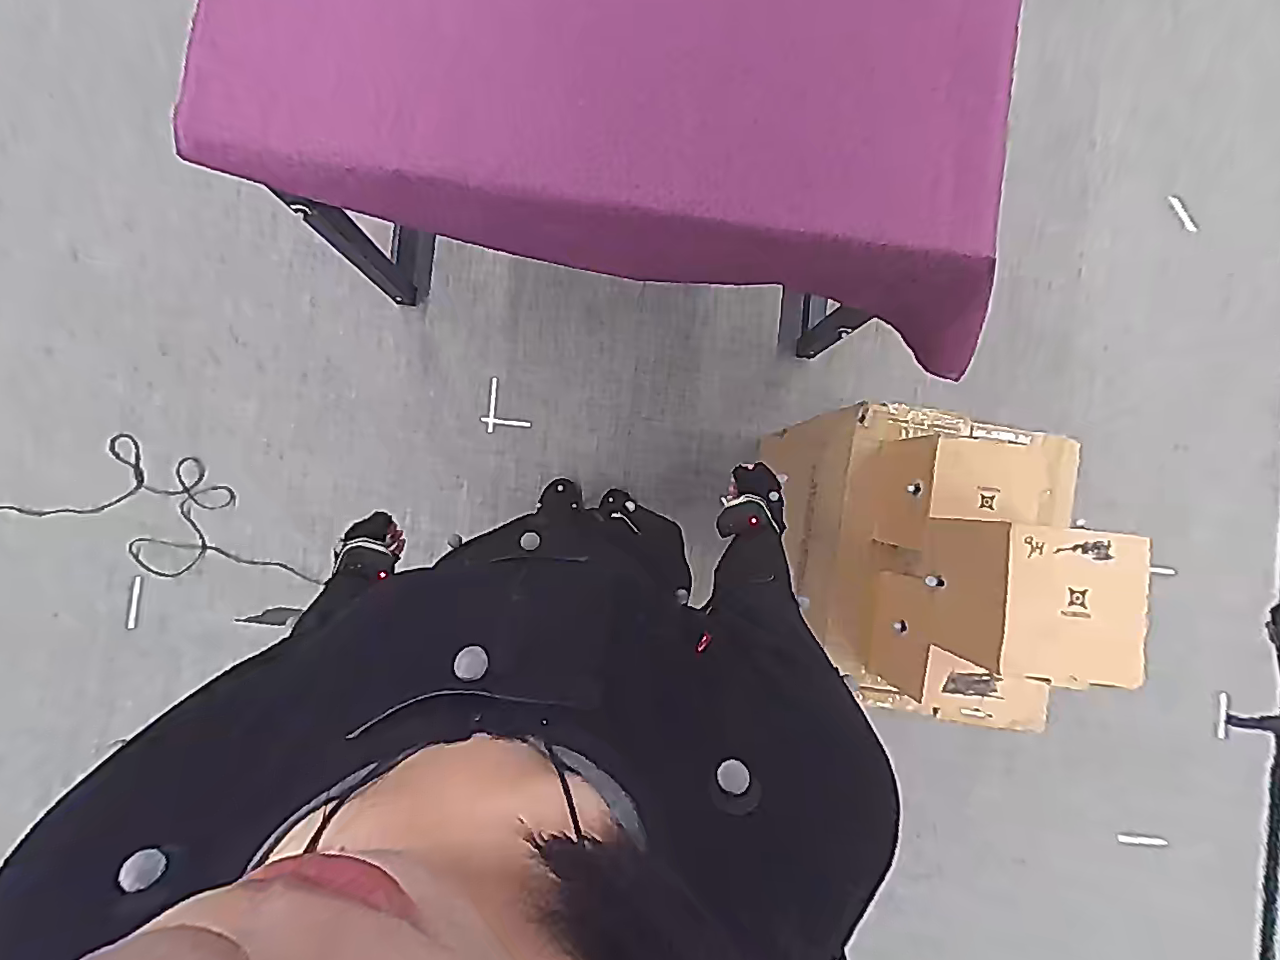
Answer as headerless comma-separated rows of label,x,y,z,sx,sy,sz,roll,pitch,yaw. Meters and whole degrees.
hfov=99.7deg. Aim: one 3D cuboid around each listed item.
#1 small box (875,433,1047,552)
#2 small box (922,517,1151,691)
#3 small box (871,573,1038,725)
small box,0.492,0.030,0.853,0.168,0.176,0.179,7,89,-2
small box,0.483,0.144,0.685,0.168,0.176,0.179,6,87,-2
small box,0.483,0.252,0.843,0.168,0.176,0.179,10,86,-2
